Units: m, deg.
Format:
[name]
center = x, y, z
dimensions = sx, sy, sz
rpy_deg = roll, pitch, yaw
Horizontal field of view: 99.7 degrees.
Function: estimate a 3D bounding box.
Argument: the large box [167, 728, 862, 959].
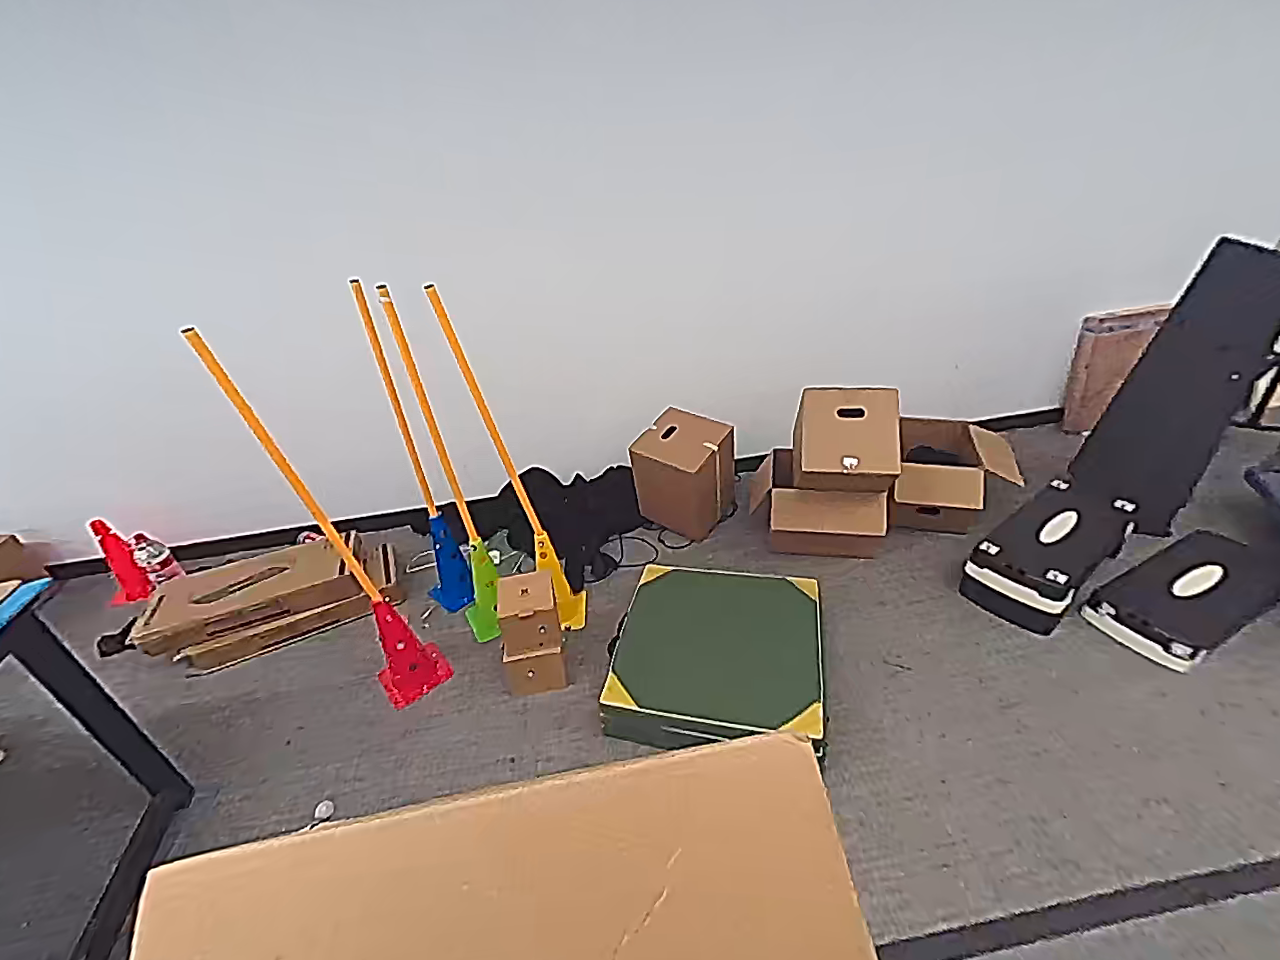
[large box]
center = -0.060, 0.404, 0.412
dimensions = 0.408, 0.320, 0.320
rpy_deg = -10, 64, -4
